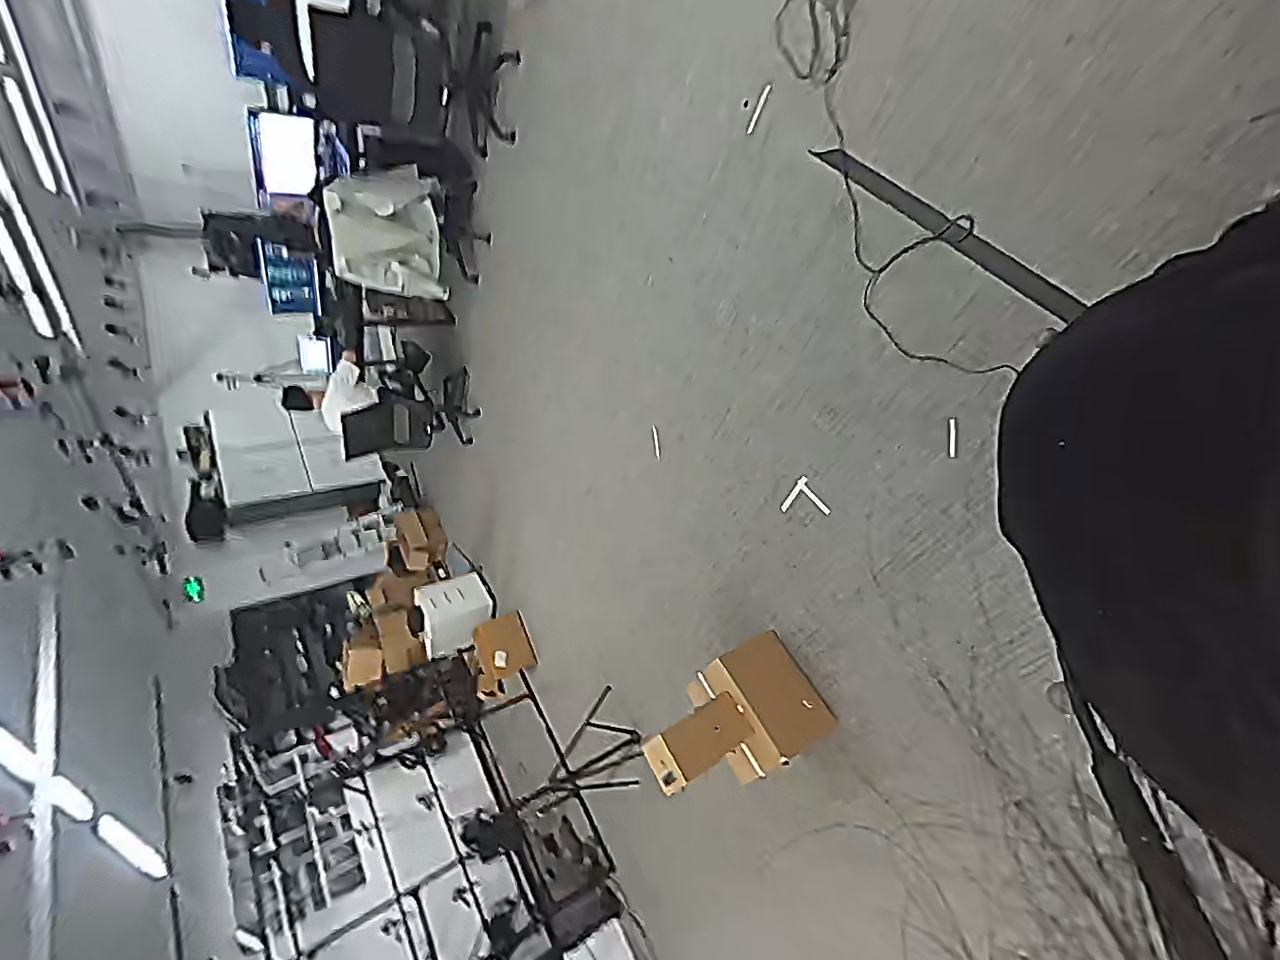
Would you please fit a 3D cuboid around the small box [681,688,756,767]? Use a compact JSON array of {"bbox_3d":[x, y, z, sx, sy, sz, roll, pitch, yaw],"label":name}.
[{"bbox_3d":[0.285,0.886,1.943,0.179,0.176,0.168,54,138,29],"label":"small box"}]
